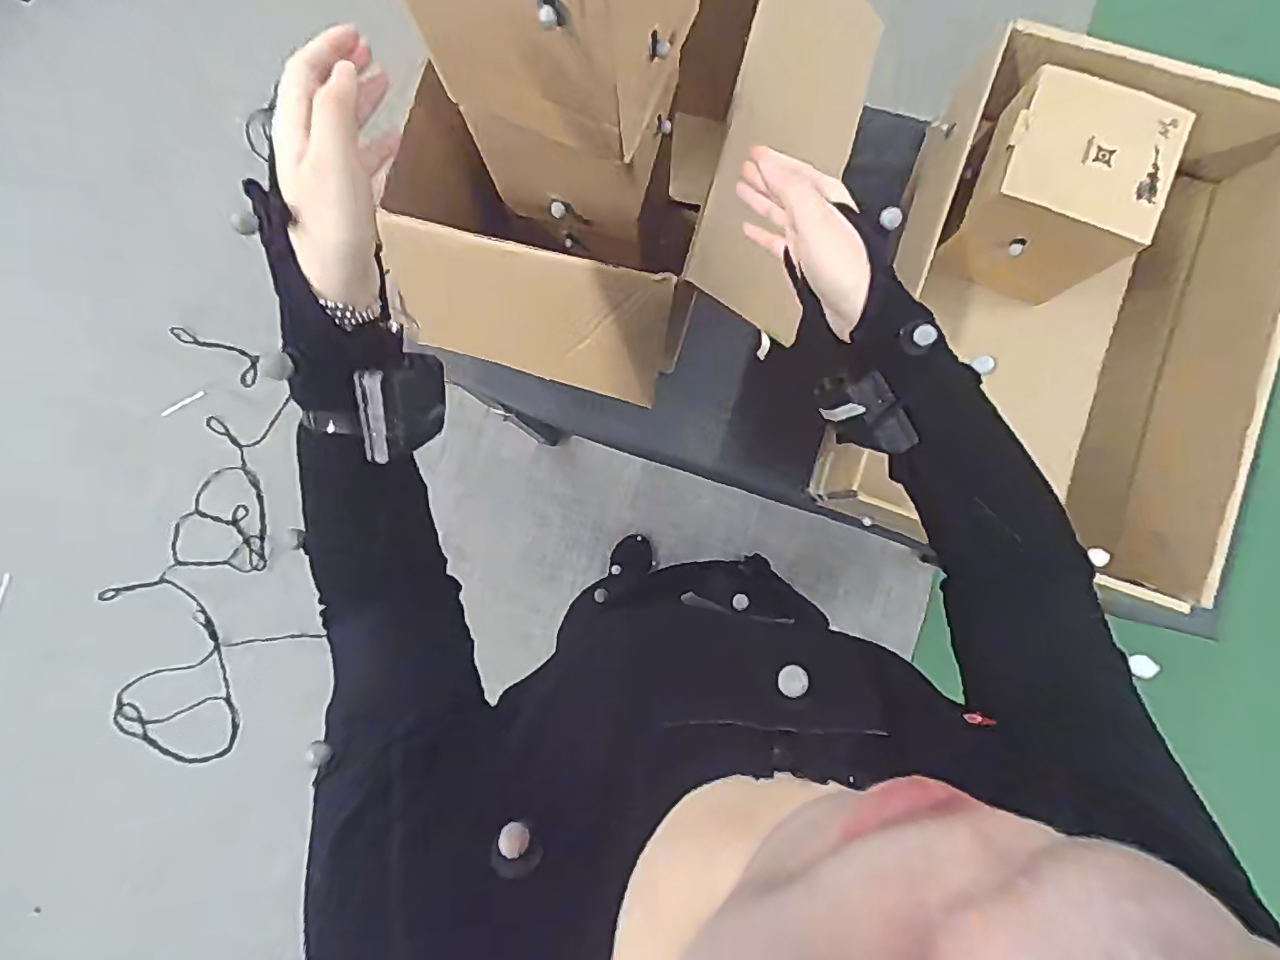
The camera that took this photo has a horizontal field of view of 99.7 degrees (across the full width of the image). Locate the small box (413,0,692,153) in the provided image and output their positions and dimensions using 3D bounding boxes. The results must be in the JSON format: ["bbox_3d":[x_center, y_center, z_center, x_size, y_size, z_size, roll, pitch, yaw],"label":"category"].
[{"bbox_3d":[-0.063,-0.390,0.405,0.179,0.176,0.168,23,87,3],"label":"small box"}]
